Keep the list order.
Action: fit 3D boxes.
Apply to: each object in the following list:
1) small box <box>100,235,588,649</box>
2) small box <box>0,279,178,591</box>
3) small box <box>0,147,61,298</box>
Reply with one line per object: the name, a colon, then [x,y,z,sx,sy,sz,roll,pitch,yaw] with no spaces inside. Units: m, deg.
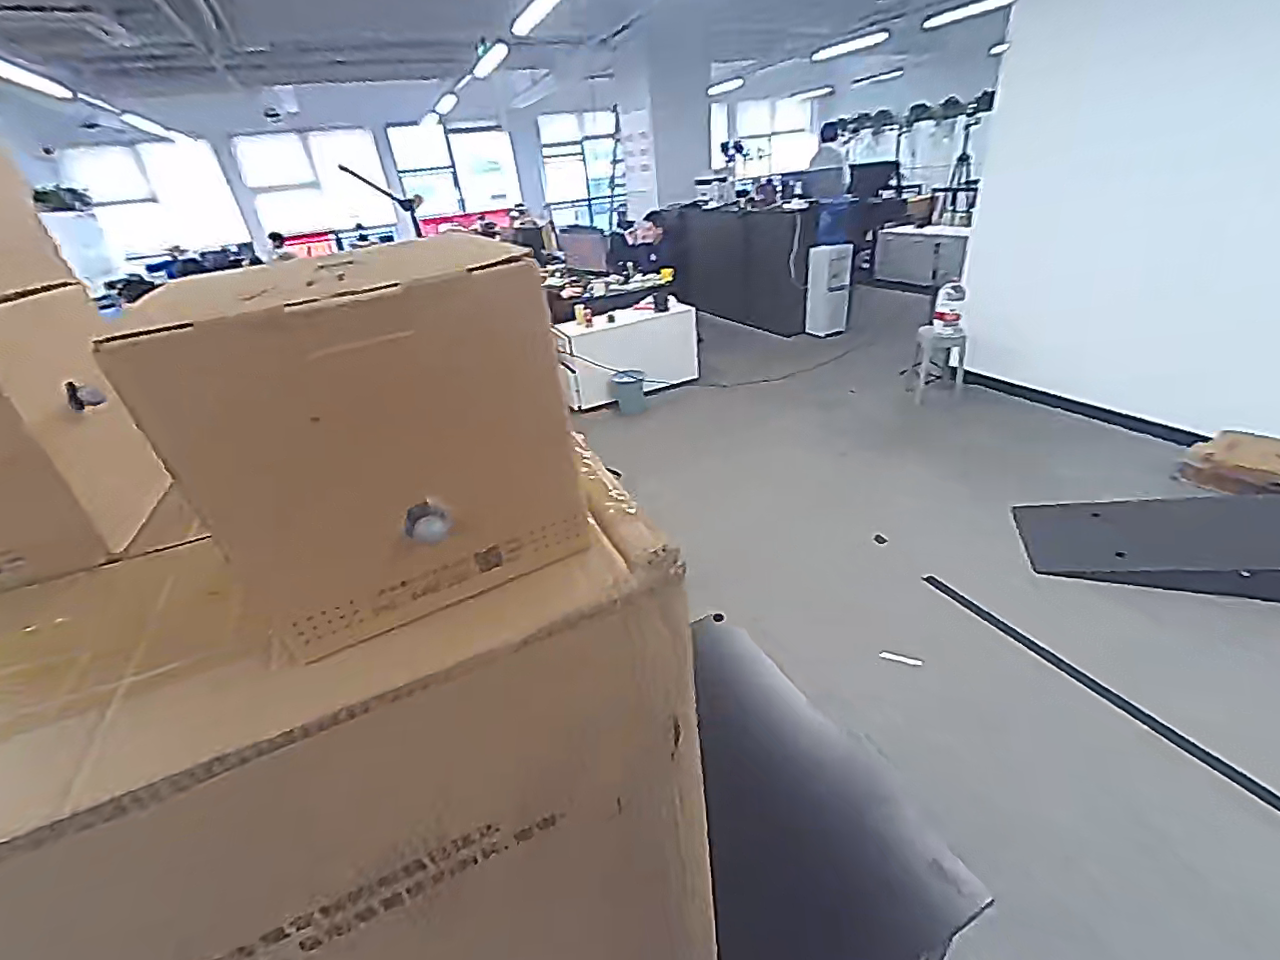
small box: [-0.146,-0.038,0.321,0.168,0.176,0.179,-21,34,-20]
small box: [-0.465,-0.026,0.368,0.168,0.176,0.179,-17,31,-20]
small box: [-0.471,-0.163,0.277,0.168,0.176,0.179,-17,31,-18]
